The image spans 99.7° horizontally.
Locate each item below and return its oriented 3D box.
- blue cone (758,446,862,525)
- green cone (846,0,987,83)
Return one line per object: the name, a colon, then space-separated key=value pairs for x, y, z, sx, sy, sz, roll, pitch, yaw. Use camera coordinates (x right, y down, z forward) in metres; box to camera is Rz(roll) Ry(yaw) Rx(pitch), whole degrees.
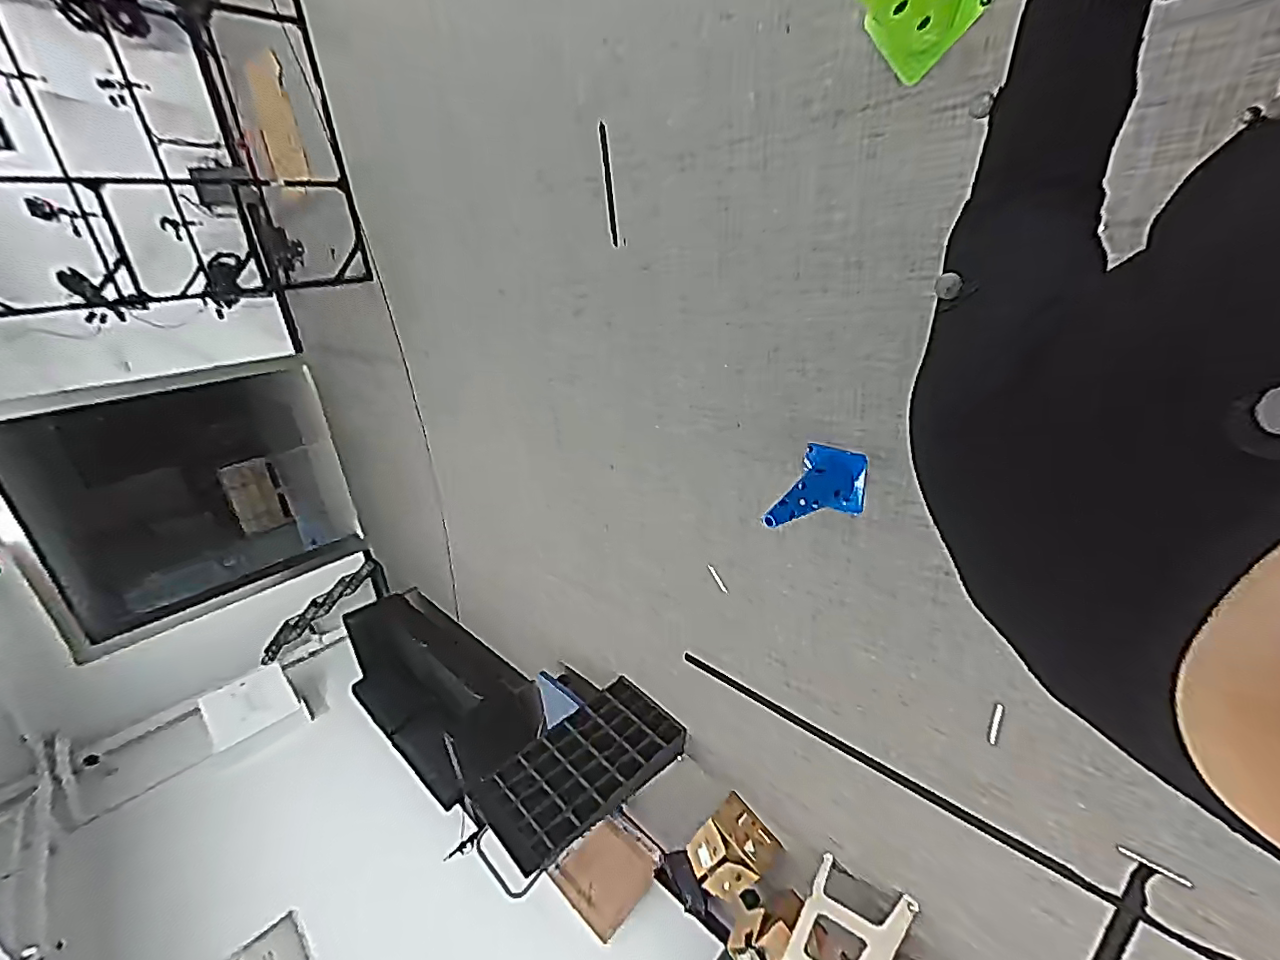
blue cone: x=0.478 y=0.049 z=1.585 sx=0.192 sy=0.380 sz=0.193 roll=22 pitch=125 yaw=42
green cone: x=0.475 y=-0.942 z=1.037 sx=0.200 sy=0.368 sz=0.202 roll=61 pitch=143 yaw=7
